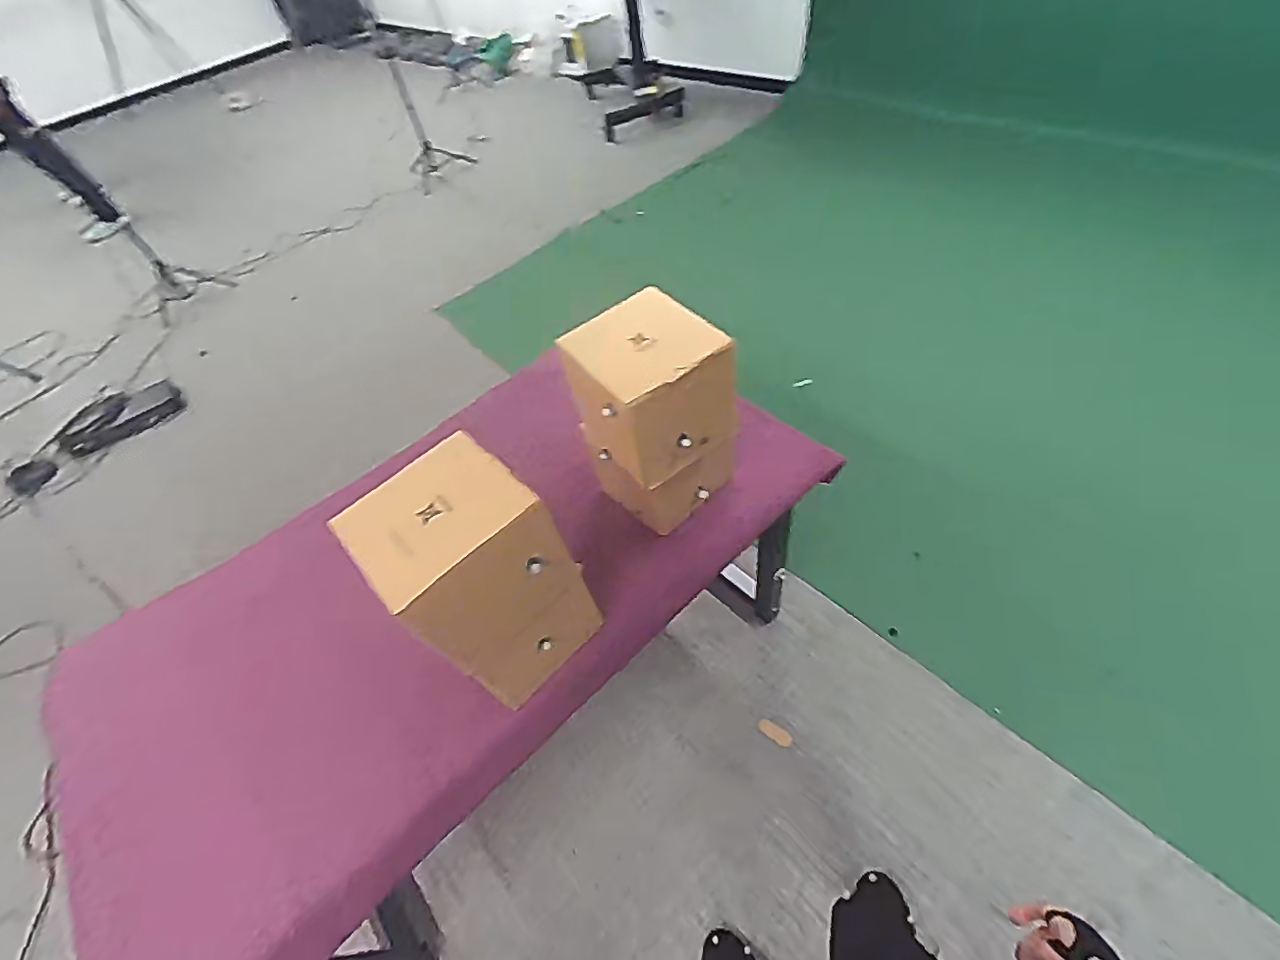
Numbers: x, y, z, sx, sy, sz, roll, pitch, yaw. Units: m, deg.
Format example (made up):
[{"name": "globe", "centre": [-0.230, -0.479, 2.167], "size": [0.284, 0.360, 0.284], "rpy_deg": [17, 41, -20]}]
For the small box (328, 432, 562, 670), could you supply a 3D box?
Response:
[{"name": "small box", "centre": [-0.210, 0.083, 0.631], "size": [0.179, 0.176, 0.168], "rpy_deg": [-40, 53, -19]}]

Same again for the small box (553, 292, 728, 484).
[{"name": "small box", "centre": [0.007, -0.127, 0.758], "size": [0.168, 0.176, 0.179], "rpy_deg": [-34, 53, -15]}]

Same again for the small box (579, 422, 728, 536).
[{"name": "small box", "centre": [0.030, -0.043, 0.899], "size": [0.179, 0.176, 0.168], "rpy_deg": [-41, 54, -19]}]
